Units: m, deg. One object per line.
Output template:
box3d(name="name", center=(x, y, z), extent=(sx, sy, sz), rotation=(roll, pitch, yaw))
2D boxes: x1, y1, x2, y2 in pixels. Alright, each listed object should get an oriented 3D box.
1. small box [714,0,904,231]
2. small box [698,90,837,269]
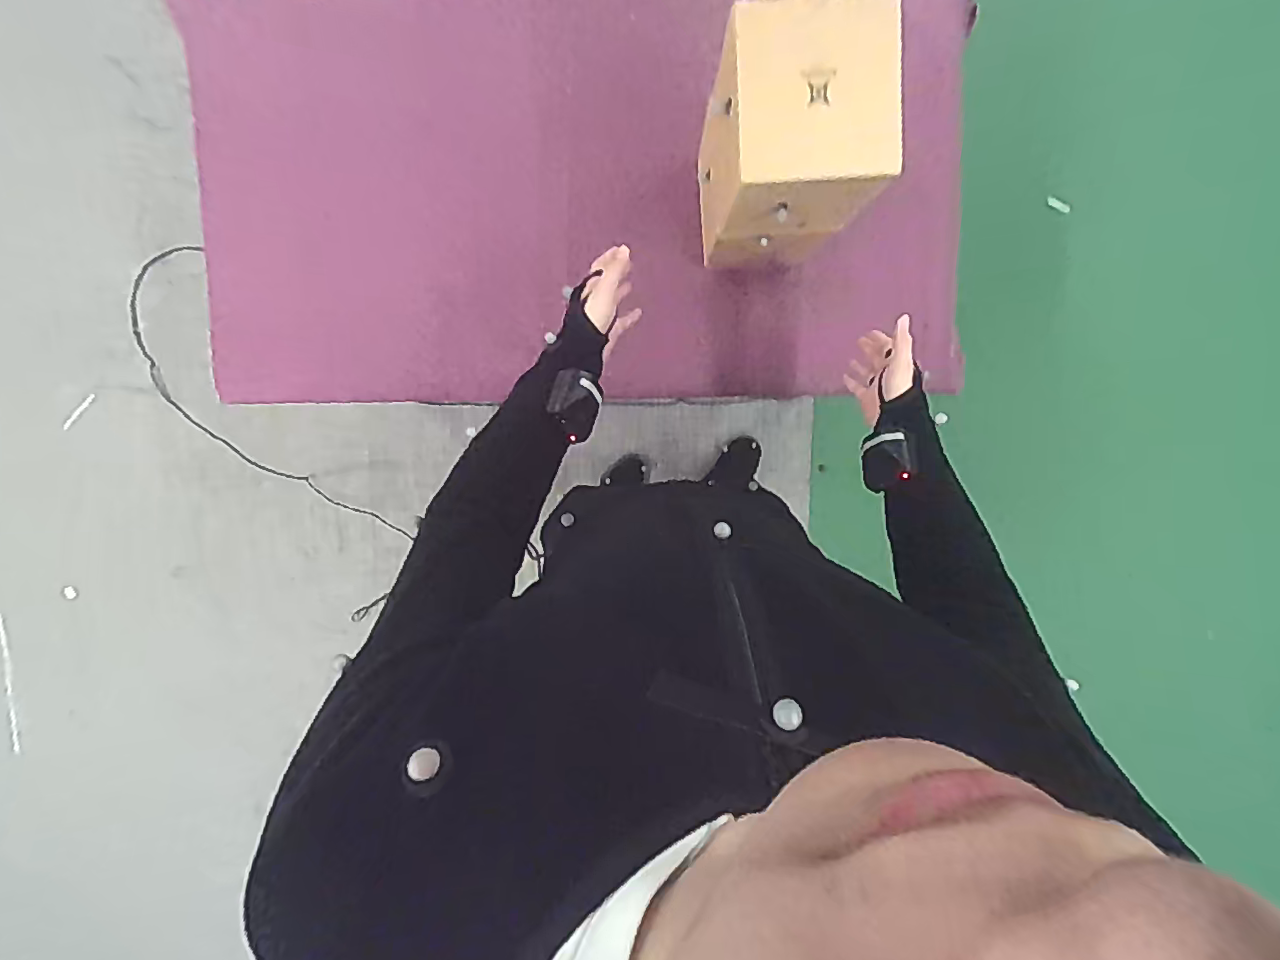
box3d(name="small box", center=(0.177, -0.394, 0.611), extent=(0.168, 0.176, 0.179), rotation=(-3, 96, 1))
box3d(name="small box", center=(0.176, -0.420, 0.771), extent=(0.168, 0.176, 0.179), rotation=(-4, 95, 1))
